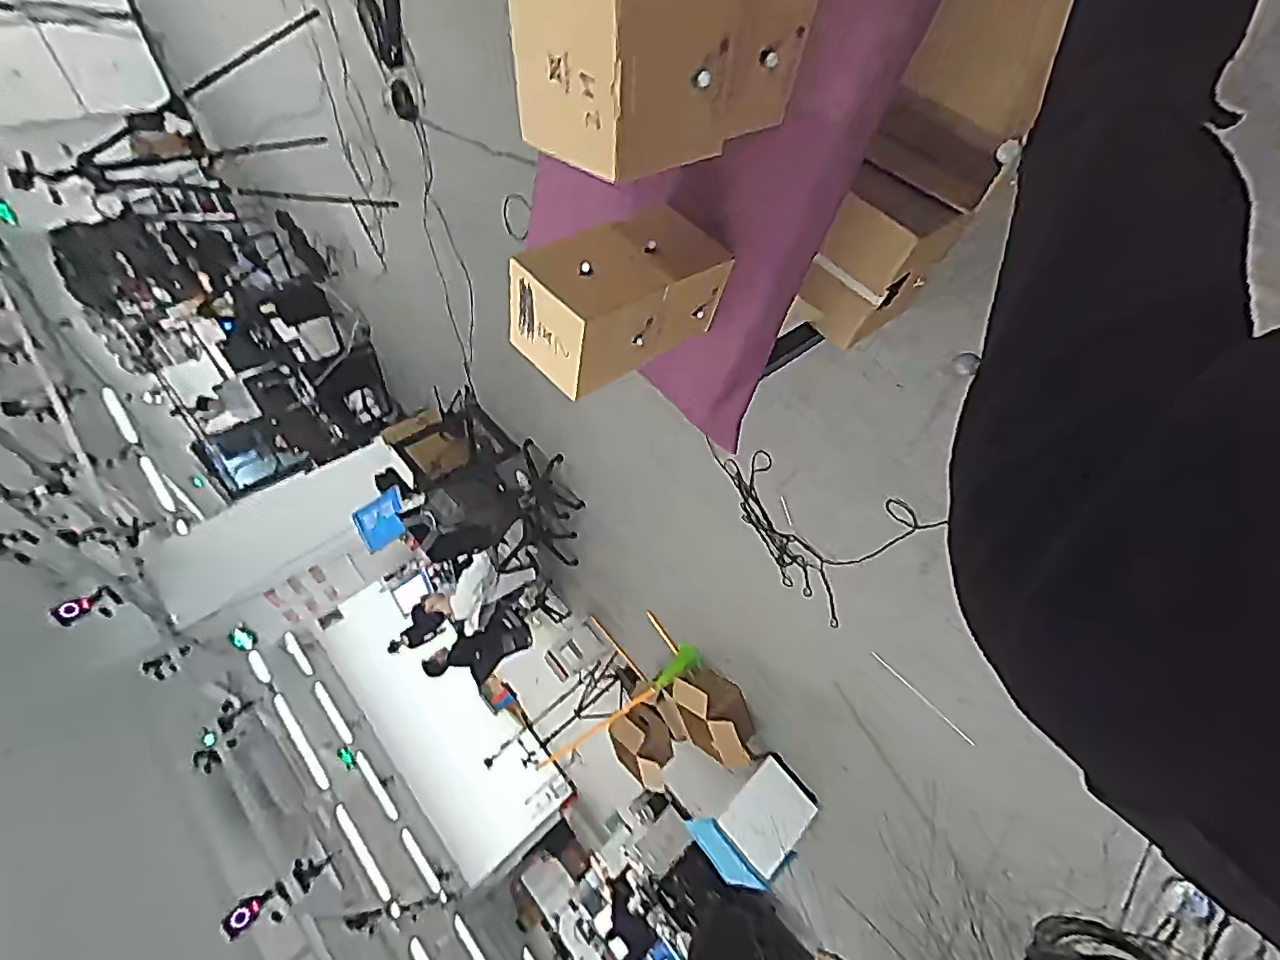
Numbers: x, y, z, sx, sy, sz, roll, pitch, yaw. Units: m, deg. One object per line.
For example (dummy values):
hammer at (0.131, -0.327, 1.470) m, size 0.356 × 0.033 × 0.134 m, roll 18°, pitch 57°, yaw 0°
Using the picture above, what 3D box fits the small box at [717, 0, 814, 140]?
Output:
small box at (0.089, -0.555, 0.670) m, size 0.179 × 0.176 × 0.168 m, roll 43°, pitch 148°, yaw 23°

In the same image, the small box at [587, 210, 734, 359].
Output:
small box at (0.032, -0.352, 0.957) m, size 0.179 × 0.176 × 0.168 m, roll 45°, pitch 148°, yaw 18°

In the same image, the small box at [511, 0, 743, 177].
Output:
small box at (-0.018, -0.457, 0.586) m, size 0.179 × 0.176 × 0.168 m, roll 39°, pitch 147°, yaw 28°
